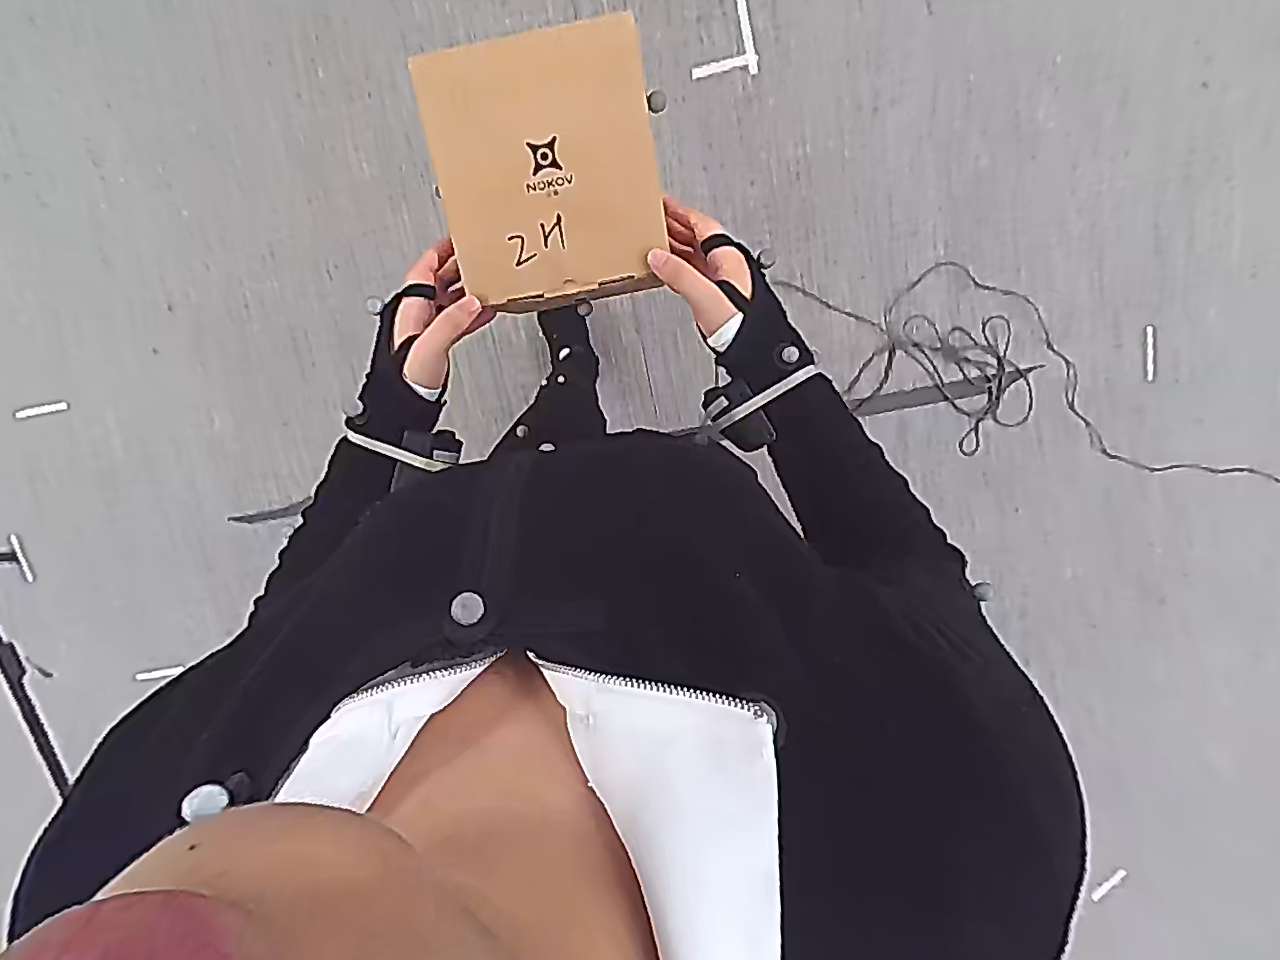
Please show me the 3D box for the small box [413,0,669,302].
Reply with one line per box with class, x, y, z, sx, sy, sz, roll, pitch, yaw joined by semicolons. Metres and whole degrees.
small box;-0.071;-0.265;0.483;0.168;0.176;0.179;-9;105;3
